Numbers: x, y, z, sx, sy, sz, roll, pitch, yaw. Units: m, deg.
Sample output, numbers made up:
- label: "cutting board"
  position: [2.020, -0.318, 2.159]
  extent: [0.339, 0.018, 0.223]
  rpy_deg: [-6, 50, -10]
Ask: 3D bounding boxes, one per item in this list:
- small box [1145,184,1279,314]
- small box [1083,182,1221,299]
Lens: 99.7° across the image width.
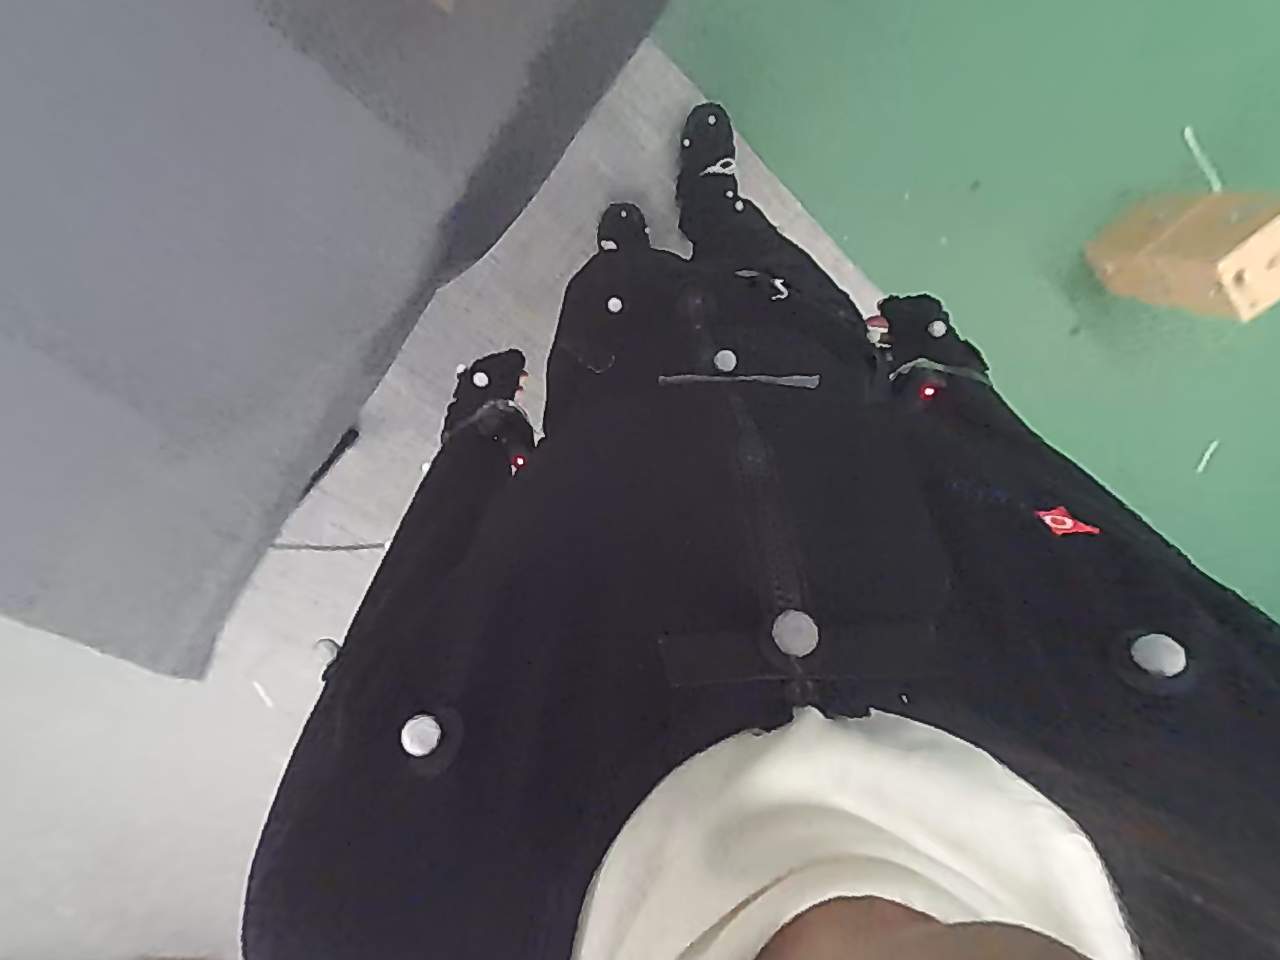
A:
- label: "small box"
  position: [1.199, -0.472, 1.092]
  extent: [0.168, 0.176, 0.179]
  rpy_deg: [38, 110, -21]
- label: "small box"
  position: [1.184, -0.552, 1.235]
  extent: [0.168, 0.176, 0.179]
  rpy_deg: [37, 112, -21]
